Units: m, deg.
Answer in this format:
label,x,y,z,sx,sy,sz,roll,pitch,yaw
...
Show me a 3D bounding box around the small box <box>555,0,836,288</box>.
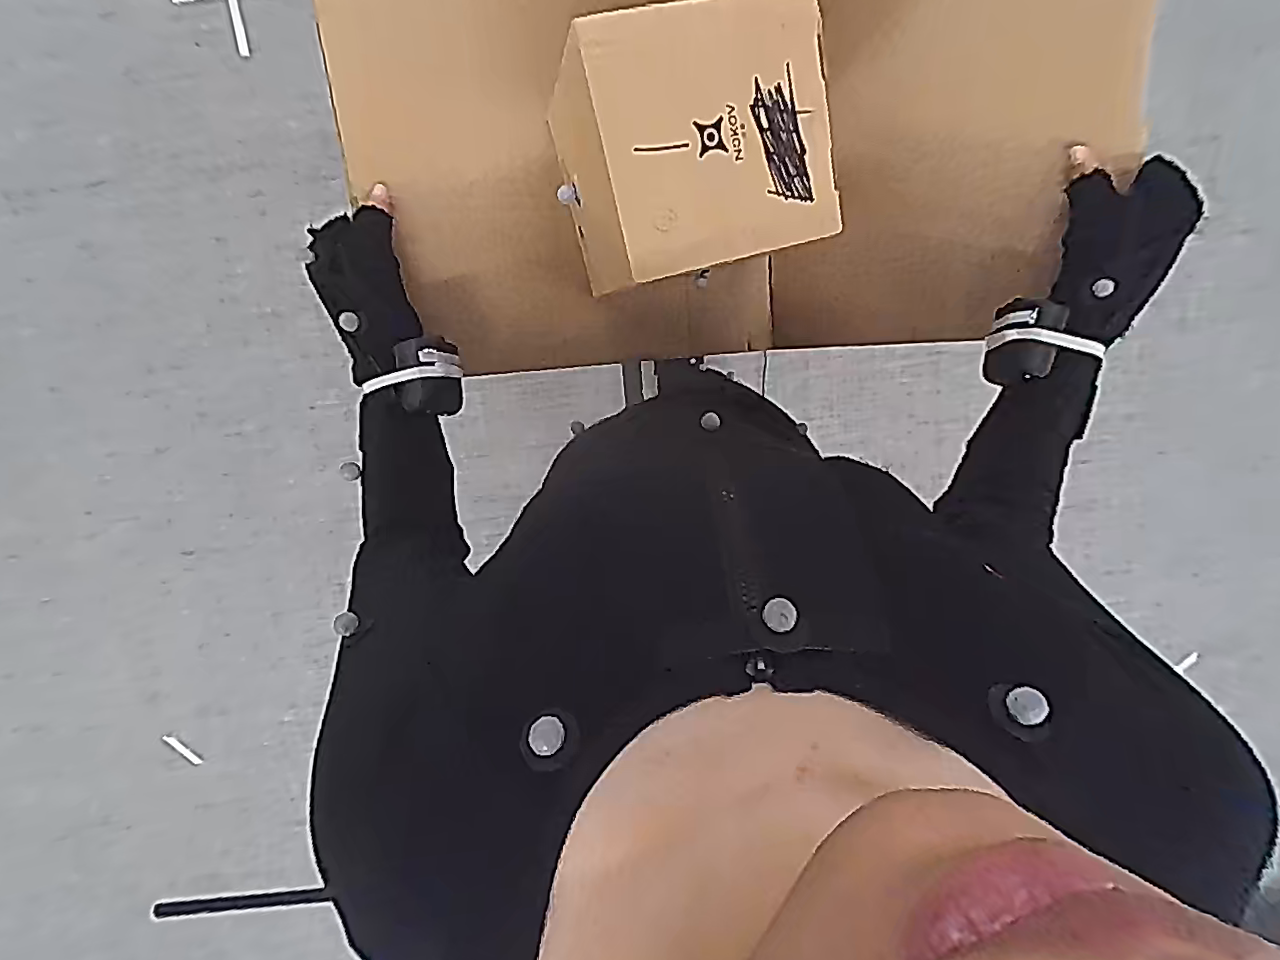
label,x,y,z,sx,sy,sz,roll,pitch,yaw
small box,0.038,-0.272,0.467,0.179,0.176,0.168,-17,108,-10
